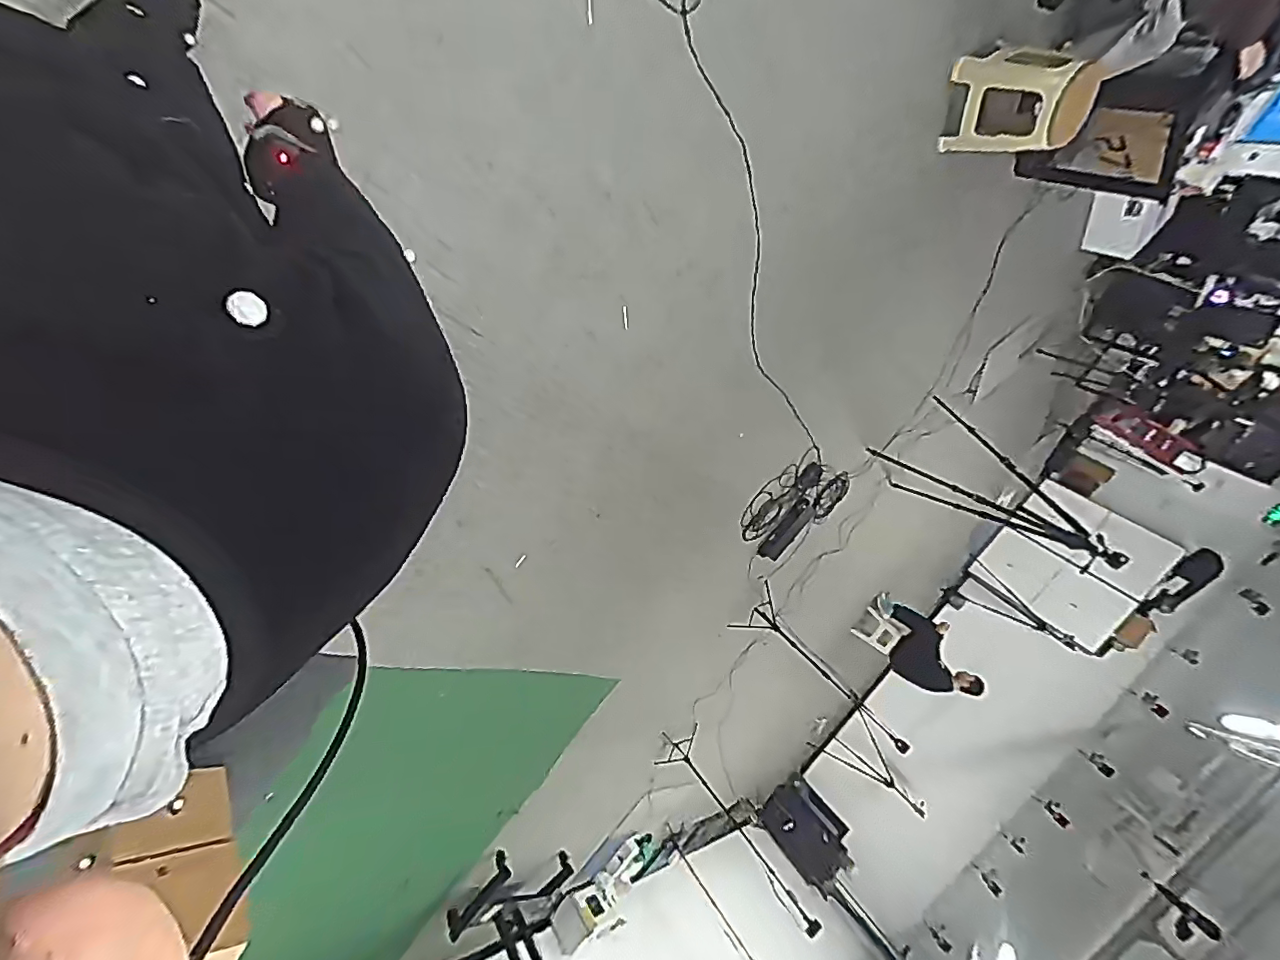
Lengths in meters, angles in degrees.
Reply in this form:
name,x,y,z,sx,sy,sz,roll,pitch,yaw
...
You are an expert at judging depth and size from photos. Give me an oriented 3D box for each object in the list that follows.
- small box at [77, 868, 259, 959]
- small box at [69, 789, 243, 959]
name,x,y,z,sx,sy,sz,roll,pitch,yaw
small box,-0.709,0.720,0.805,0.168,0.176,0.179,25,103,-49
small box,-0.813,0.651,0.911,0.168,0.176,0.179,28,99,-50
